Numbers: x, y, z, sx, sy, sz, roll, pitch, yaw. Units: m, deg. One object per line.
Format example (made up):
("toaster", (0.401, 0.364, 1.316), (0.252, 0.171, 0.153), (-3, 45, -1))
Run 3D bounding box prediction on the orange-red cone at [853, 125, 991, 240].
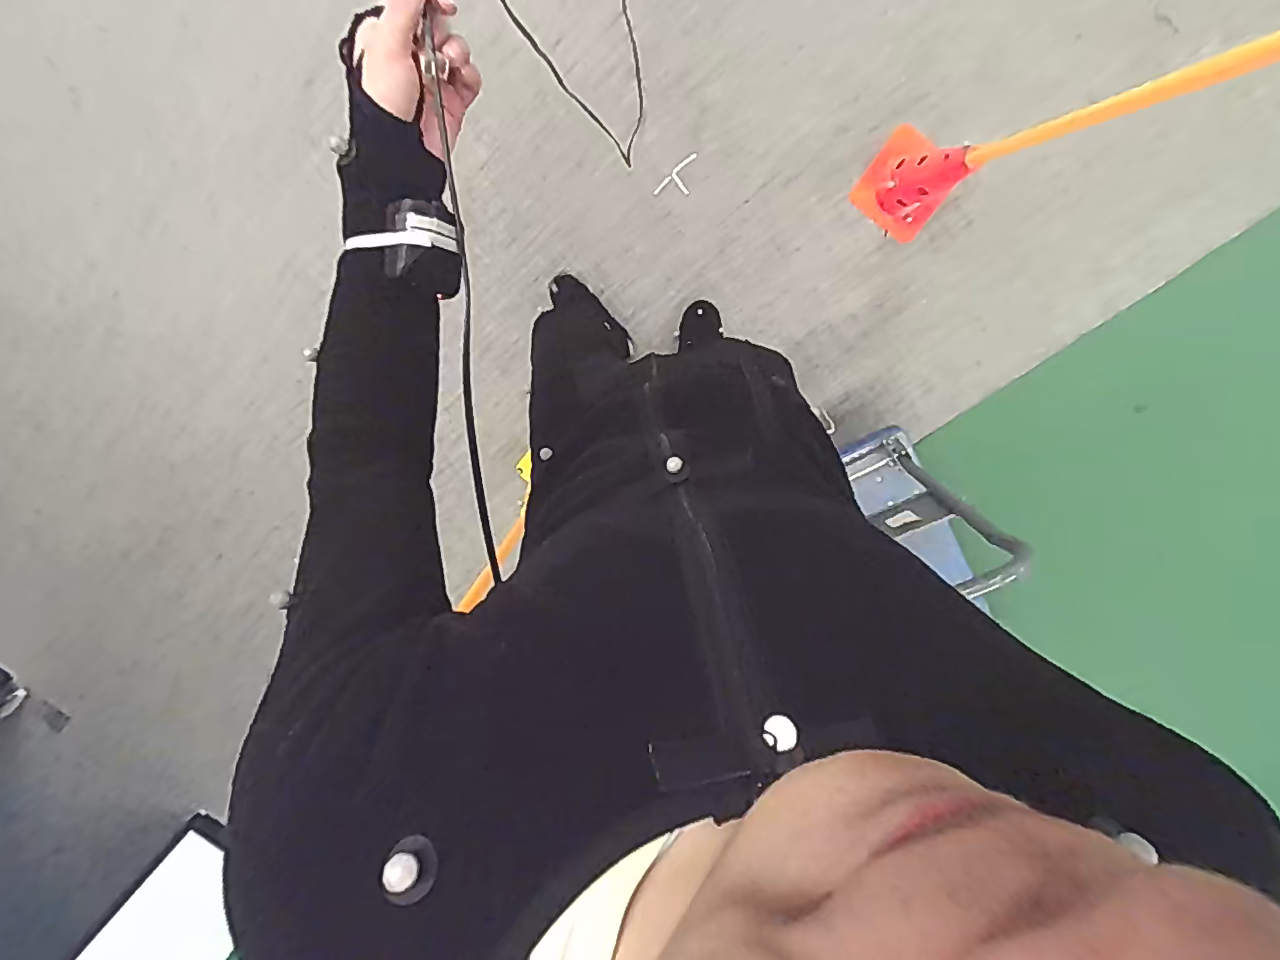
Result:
("orange-red cone", (0.640, -0.662, 1.159), (0.198, 0.360, 0.199), (34, 109, -9))
